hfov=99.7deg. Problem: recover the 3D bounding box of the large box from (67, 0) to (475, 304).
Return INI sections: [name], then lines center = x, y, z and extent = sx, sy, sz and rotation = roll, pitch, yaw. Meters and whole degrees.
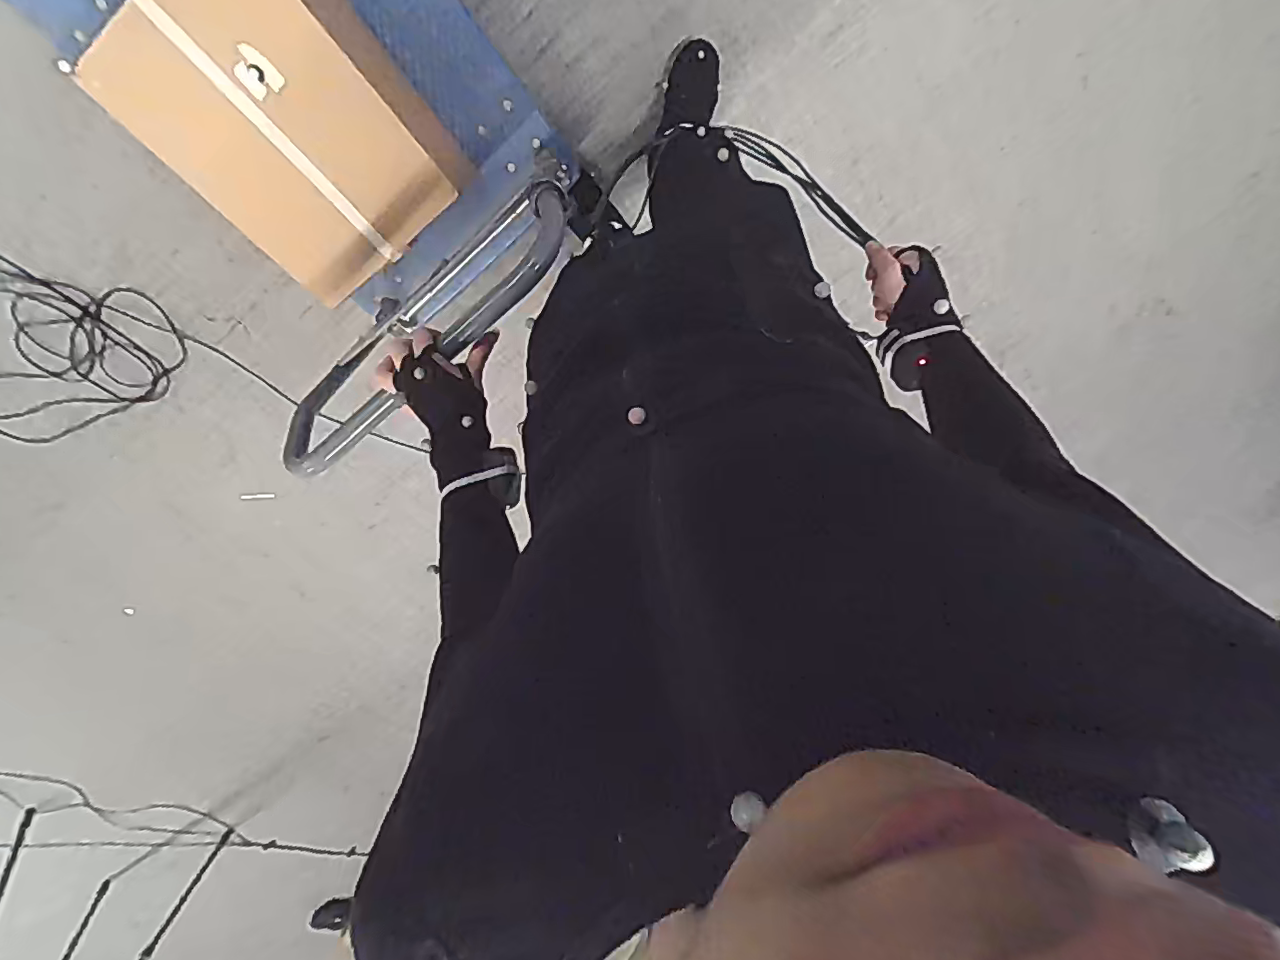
[large box]
center = -0.543, -0.584, 0.901
extent = 0.320, 0.320, 0.408
rotation = -33, 125, 14
